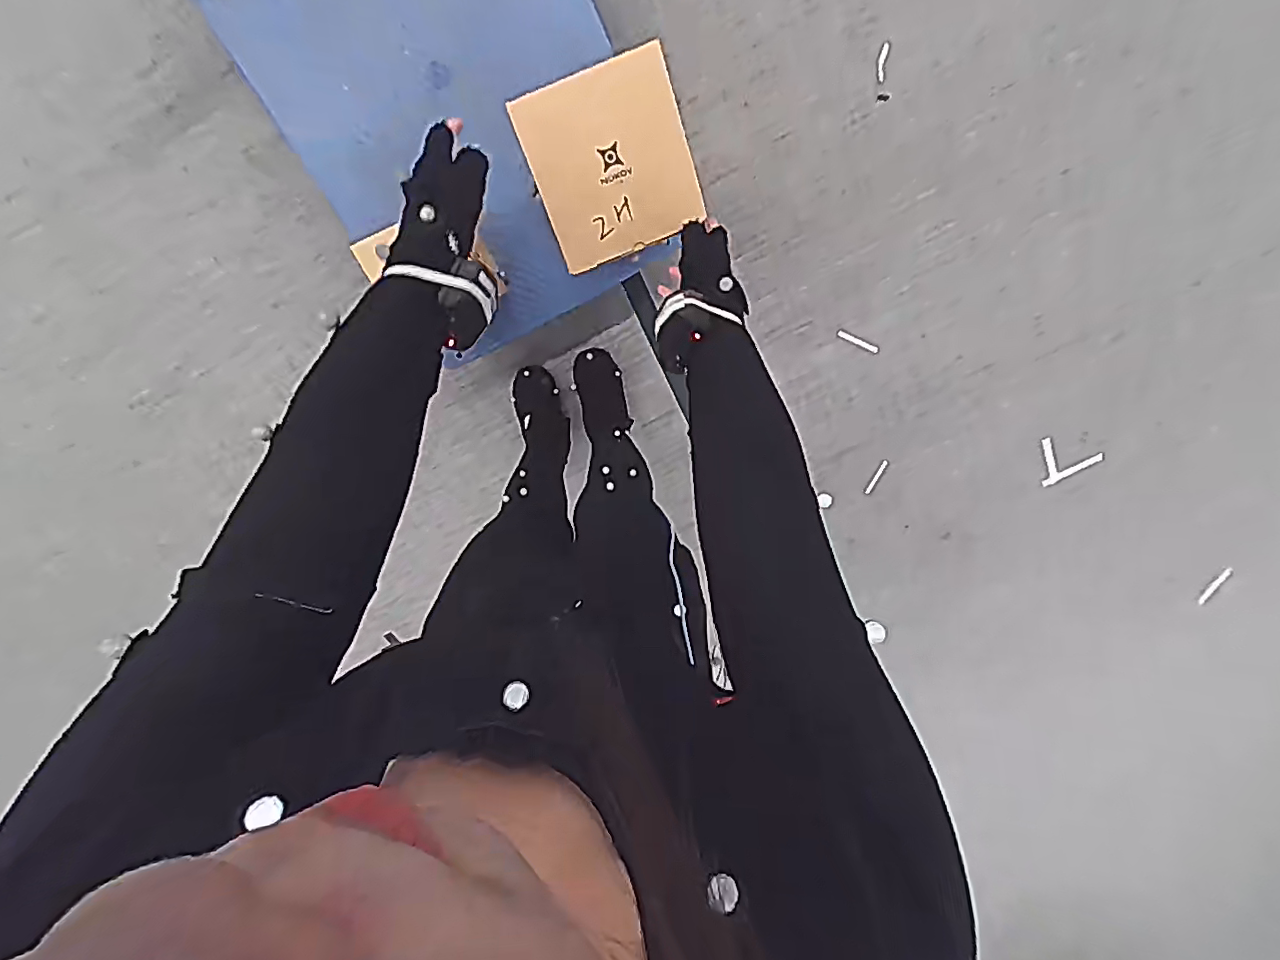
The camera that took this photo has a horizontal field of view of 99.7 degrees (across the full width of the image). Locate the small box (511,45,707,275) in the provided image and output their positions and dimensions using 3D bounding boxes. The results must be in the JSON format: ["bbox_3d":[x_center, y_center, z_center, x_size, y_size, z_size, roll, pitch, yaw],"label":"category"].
[{"bbox_3d":[-0.036,-0.361,0.643,0.168,0.176,0.179,-20,115,4],"label":"small box"}]

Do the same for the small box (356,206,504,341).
[{"bbox_3d":[-0.360,-0.375,0.973,0.179,0.176,0.168,-22,115,7],"label":"small box"}]
